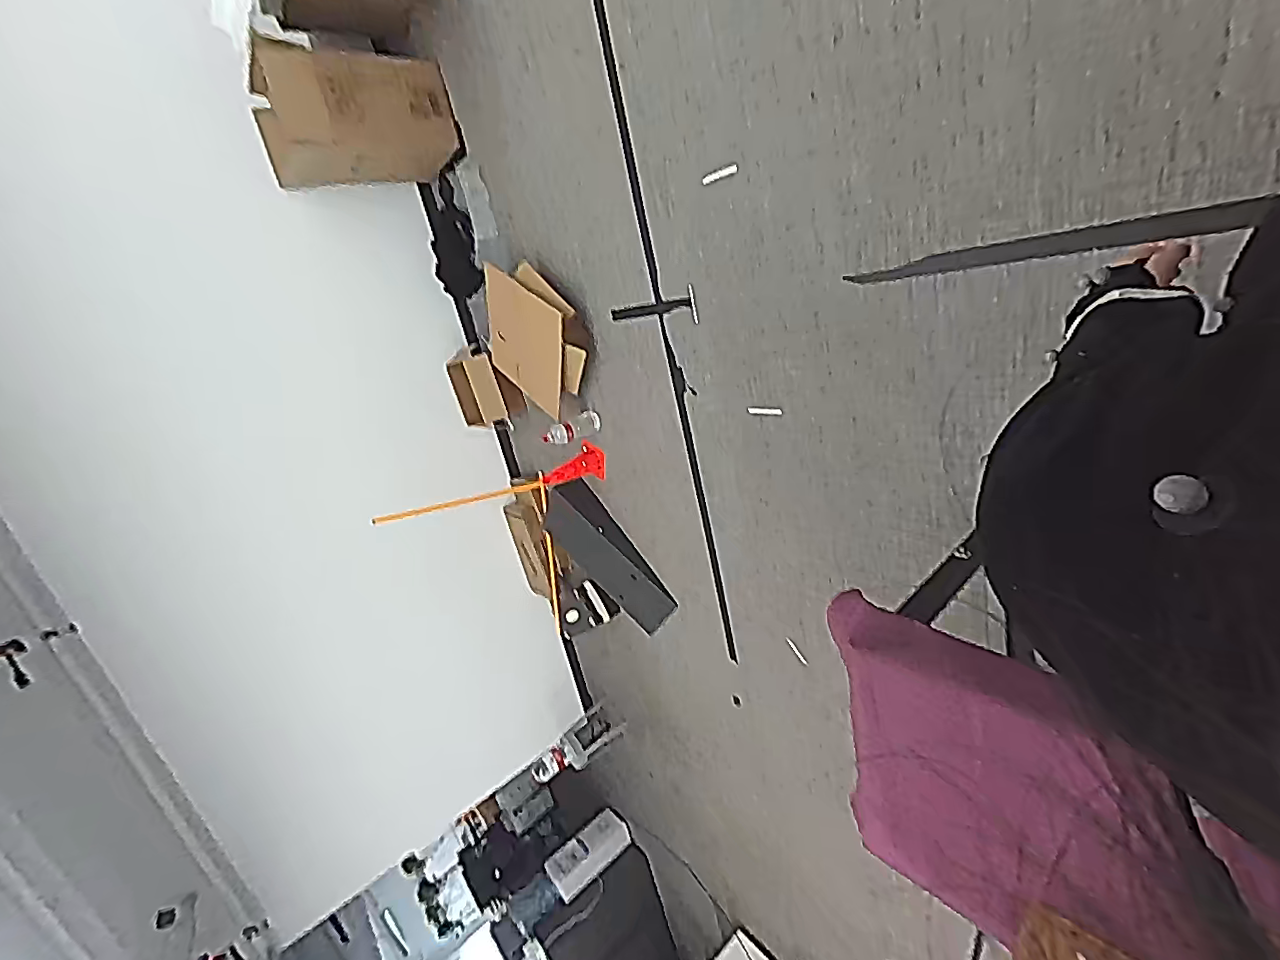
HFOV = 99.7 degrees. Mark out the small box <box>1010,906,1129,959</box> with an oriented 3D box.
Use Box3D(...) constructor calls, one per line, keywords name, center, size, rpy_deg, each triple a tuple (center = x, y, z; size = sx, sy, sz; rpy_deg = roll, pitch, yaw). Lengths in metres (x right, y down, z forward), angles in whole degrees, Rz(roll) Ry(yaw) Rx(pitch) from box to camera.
Box3D(name="small box", center=(0.712, 0.867, 0.880), size=(0.168, 0.176, 0.179), rpy_deg=(11, 119, 50))
